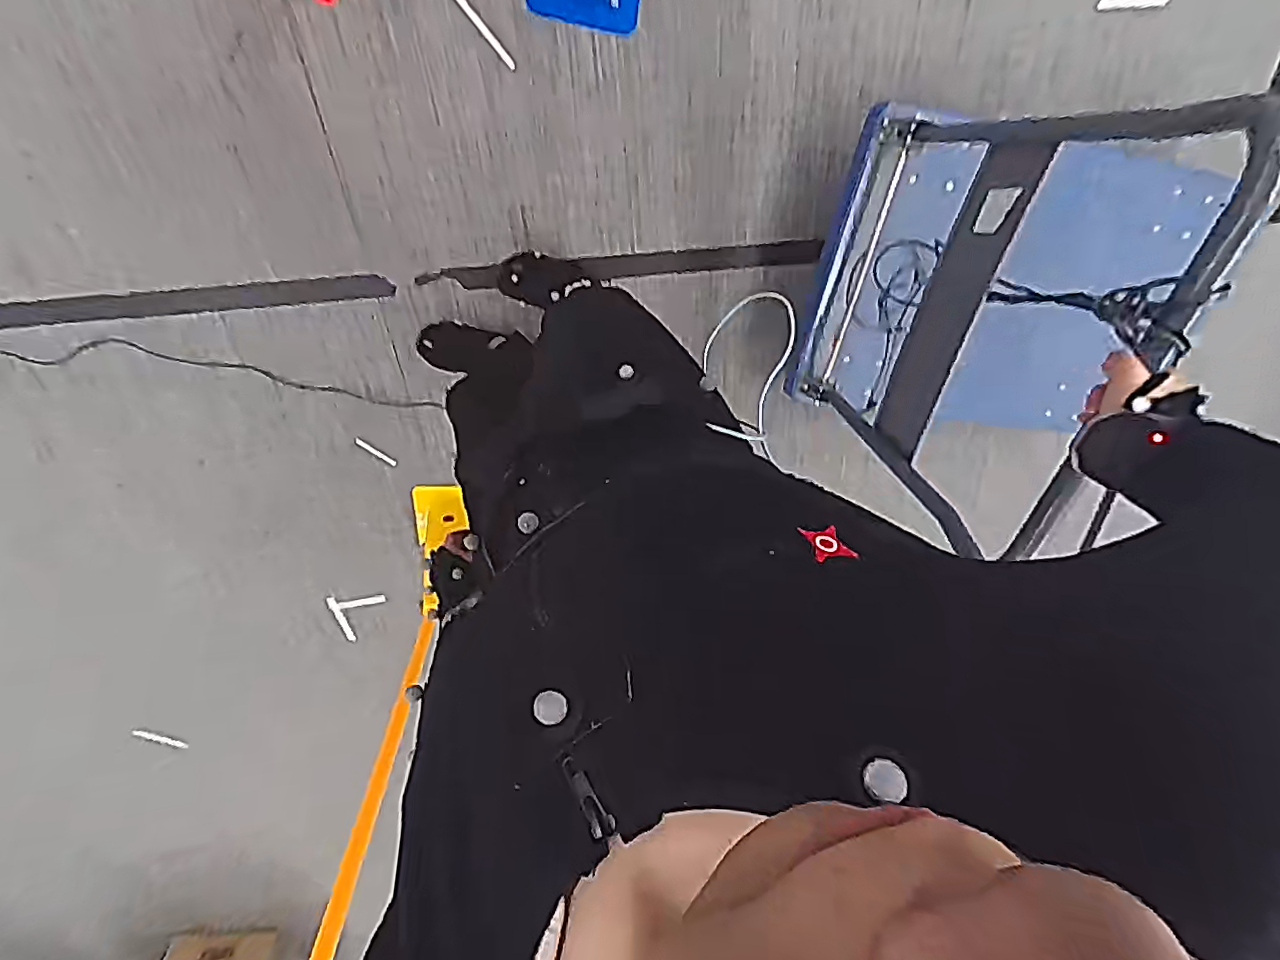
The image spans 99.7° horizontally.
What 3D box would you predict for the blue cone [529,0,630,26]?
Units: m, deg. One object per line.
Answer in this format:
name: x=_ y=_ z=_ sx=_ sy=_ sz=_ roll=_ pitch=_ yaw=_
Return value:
blue cone: x=-0.081 y=-0.814 z=0.770 sx=0.192 sy=0.380 sz=0.193 roll=6 pitch=119 yaw=-12
